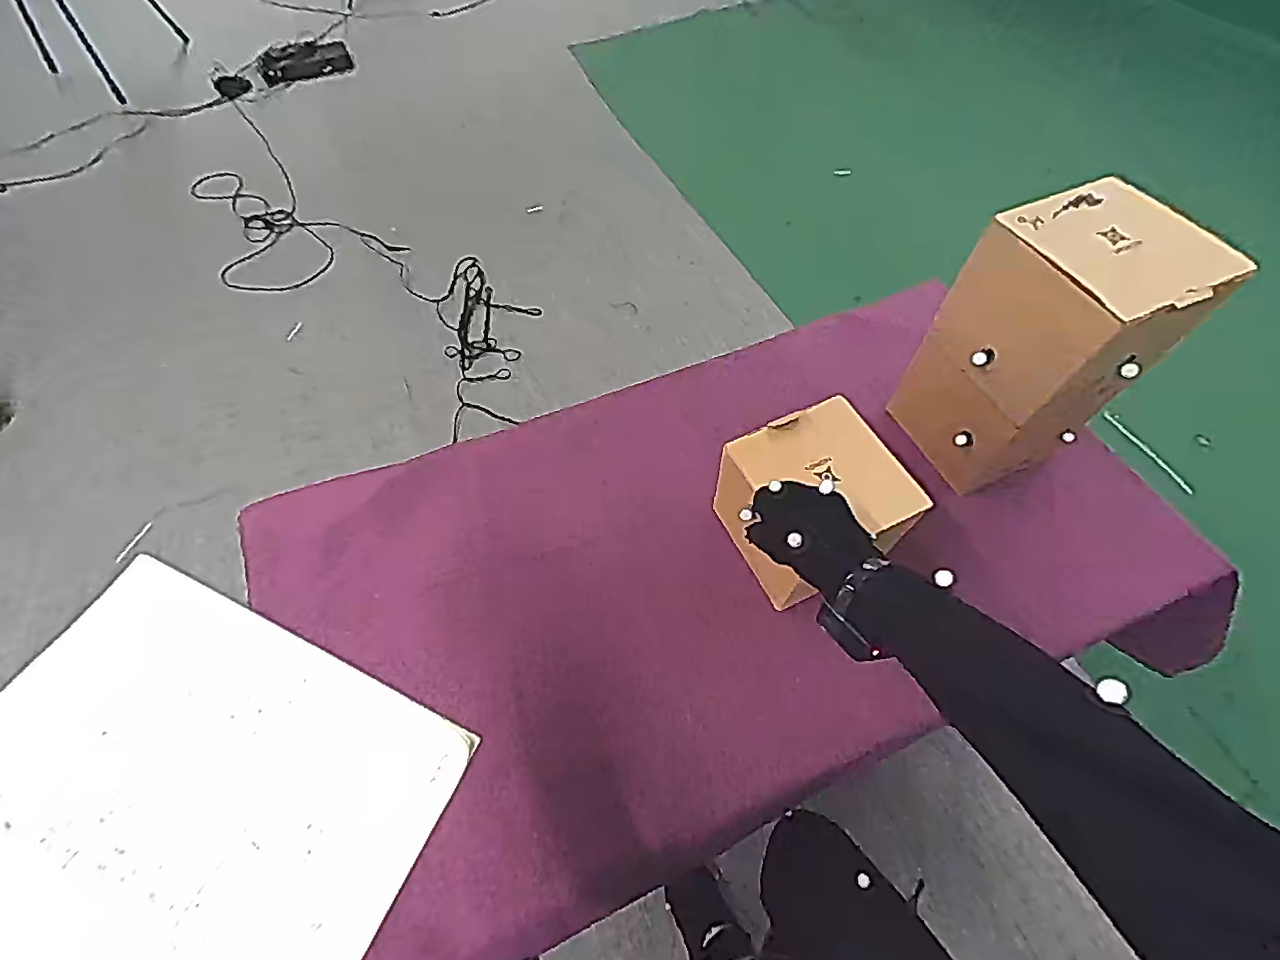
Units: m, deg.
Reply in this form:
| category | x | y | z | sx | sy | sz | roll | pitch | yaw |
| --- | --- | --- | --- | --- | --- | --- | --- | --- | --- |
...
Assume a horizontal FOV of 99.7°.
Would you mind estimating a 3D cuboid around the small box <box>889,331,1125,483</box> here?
| category | x | y | z | sx | sy | sz | roll | pitch | yaw |
| --- | --- | --- | --- | --- | --- | --- | --- | --- | --- |
| small box | 0.489 | -0.115 | 0.754 | 0.168 | 0.176 | 0.179 | -20 | 61 | -9 |

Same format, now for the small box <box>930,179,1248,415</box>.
| category | x | y | z | sx | sy | sz | roll | pitch | yaw |
| --- | --- | --- | --- | --- | --- | --- | --- | --- | --- |
| small box | 0.477 | -0.194 | 0.611 | 0.168 | 0.176 | 0.179 | -20 | 62 | -10 |

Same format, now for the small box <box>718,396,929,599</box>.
| category | x | y | z | sx | sy | sz | roll | pitch | yaw |
| --- | --- | --- | --- | --- | --- | --- | --- | --- | --- |
| small box | 0.213 | 0.033 | 0.684 | 0.168 | 0.176 | 0.179 | -23 | 61 | -10 |
